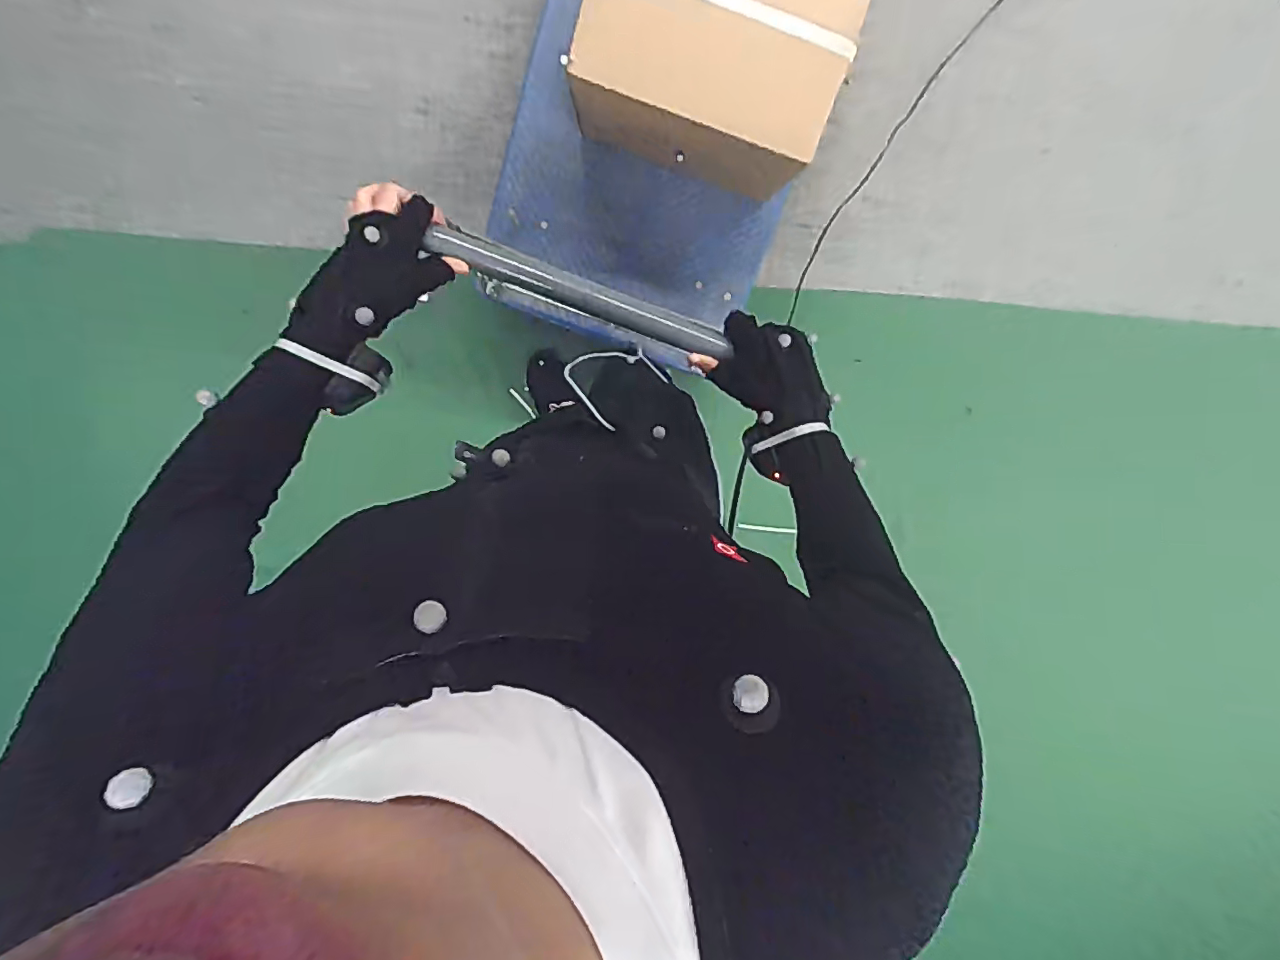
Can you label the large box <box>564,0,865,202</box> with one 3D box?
[{"bbox_3d":[0.120,-0.731,0.939,0.408,0.320,0.320,18,105,-5],"label":"large box"}]
